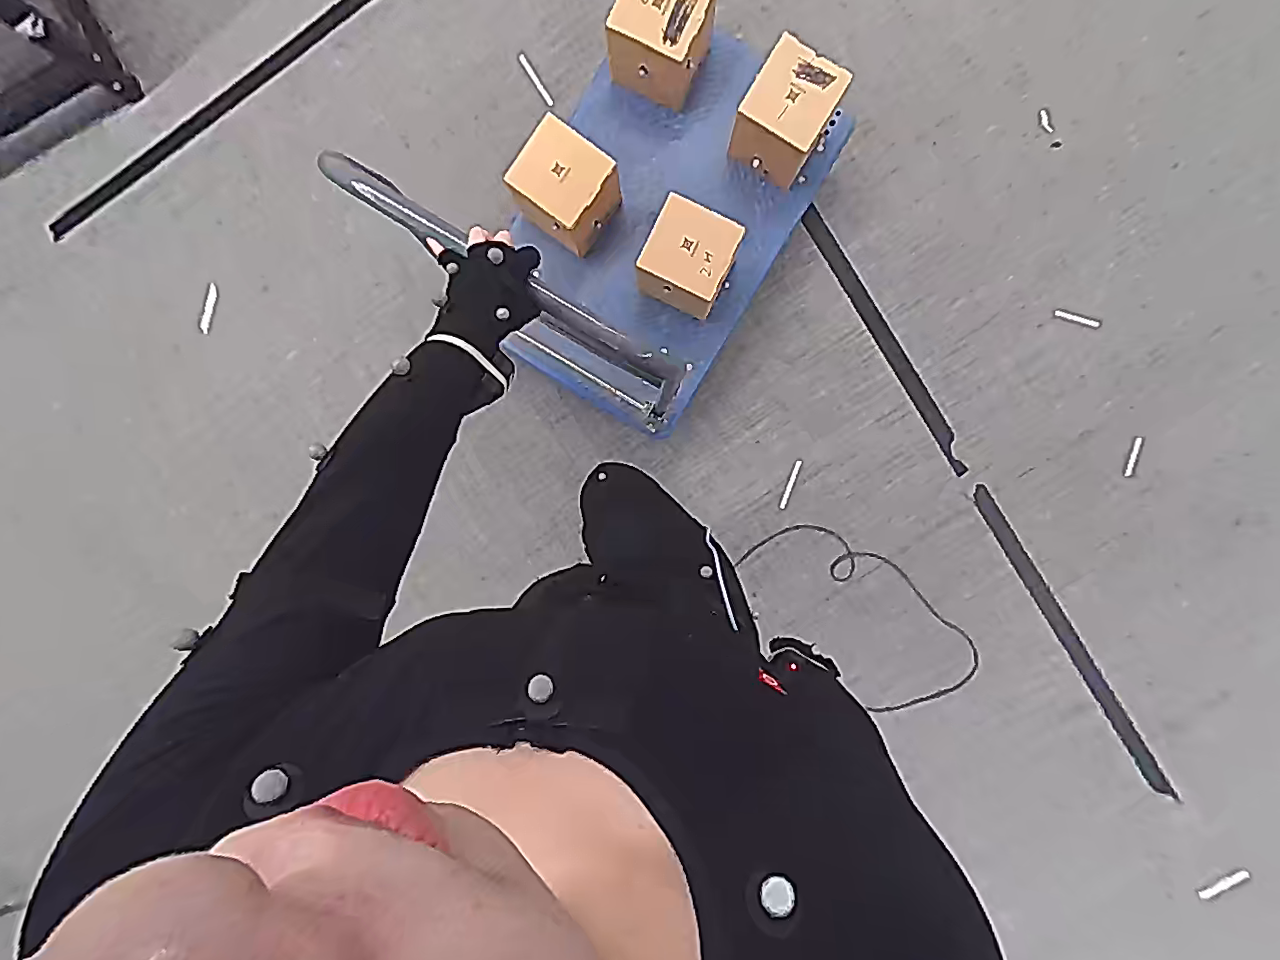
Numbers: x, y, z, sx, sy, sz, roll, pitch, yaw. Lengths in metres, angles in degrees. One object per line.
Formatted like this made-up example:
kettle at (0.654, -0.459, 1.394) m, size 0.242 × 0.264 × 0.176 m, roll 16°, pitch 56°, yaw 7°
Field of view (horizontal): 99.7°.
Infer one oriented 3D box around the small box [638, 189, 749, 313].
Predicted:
small box at (0.110, -0.484, 1.175) m, size 0.179 × 0.176 × 0.168 m, roll 27°, pitch 94°, yaw 0°

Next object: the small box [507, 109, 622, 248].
small box at (-0.155, -0.640, 1.175) m, size 0.179 × 0.176 × 0.168 m, roll 36°, pitch 94°, yaw -2°

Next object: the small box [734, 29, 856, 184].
small box at (0.317, -0.779, 1.148) m, size 0.168 × 0.176 × 0.179 m, roll 32°, pitch 95°, yaw 0°
